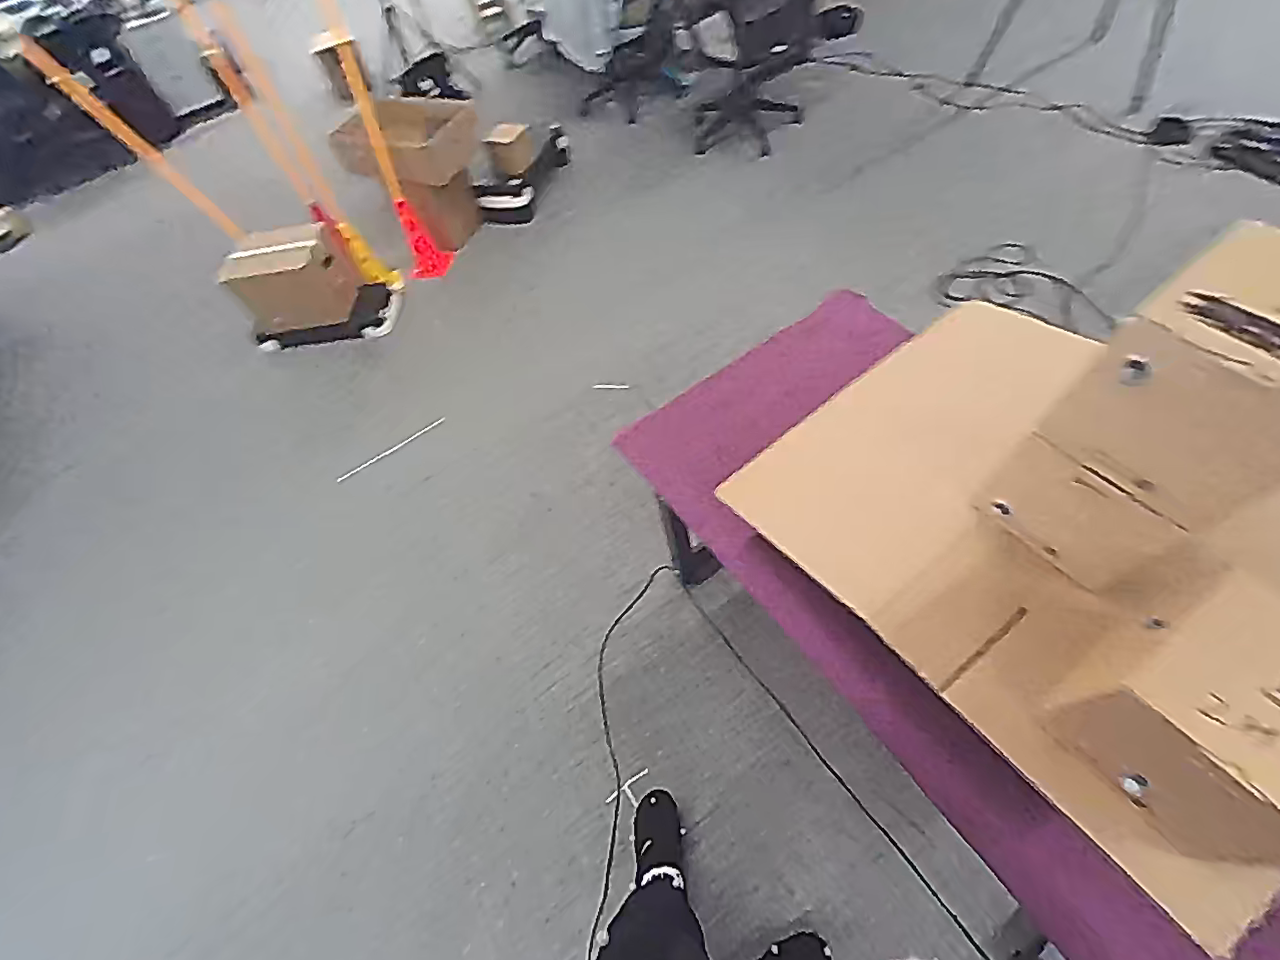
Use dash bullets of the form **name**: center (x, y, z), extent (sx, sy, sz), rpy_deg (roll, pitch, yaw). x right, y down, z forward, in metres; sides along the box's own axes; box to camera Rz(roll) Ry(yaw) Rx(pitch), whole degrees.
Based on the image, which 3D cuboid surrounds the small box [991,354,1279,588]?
- **small box**: center (0.551, -0.004, 0.628), extent (0.179, 0.176, 0.168), rpy_deg (-35, 62, -14)
